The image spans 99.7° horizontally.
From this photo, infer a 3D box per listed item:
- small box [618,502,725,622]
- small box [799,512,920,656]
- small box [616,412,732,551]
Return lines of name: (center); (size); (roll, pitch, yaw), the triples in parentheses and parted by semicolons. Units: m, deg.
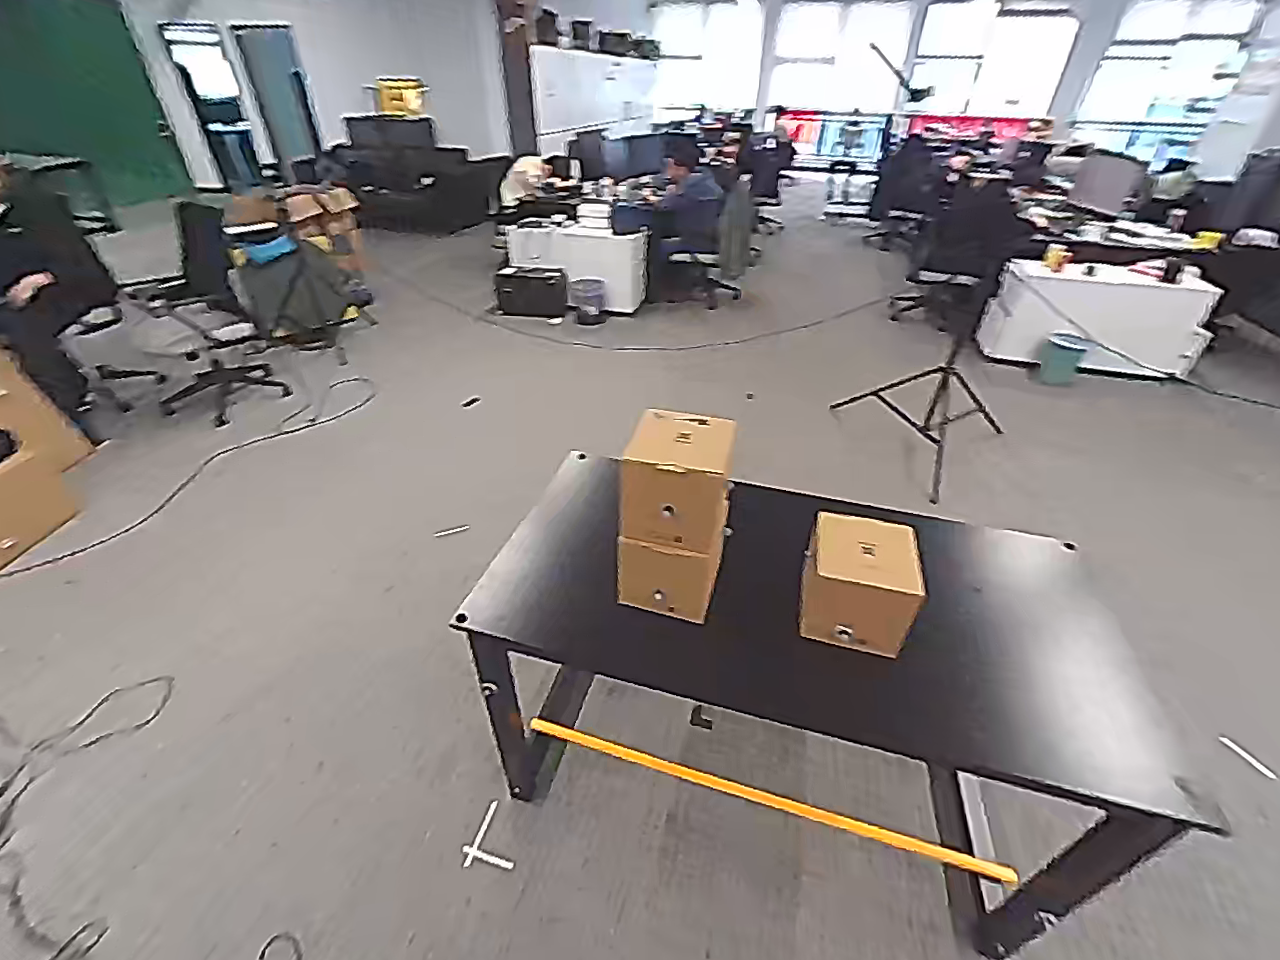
small box: (0.060, 0.140, 1.042); (0.168, 0.176, 0.179); (11, 37, 14)
small box: (0.390, 0.188, 0.990); (0.168, 0.176, 0.179); (8, 37, 12)
small box: (0.062, 0.002, 0.953); (0.168, 0.176, 0.179); (10, 37, 11)
